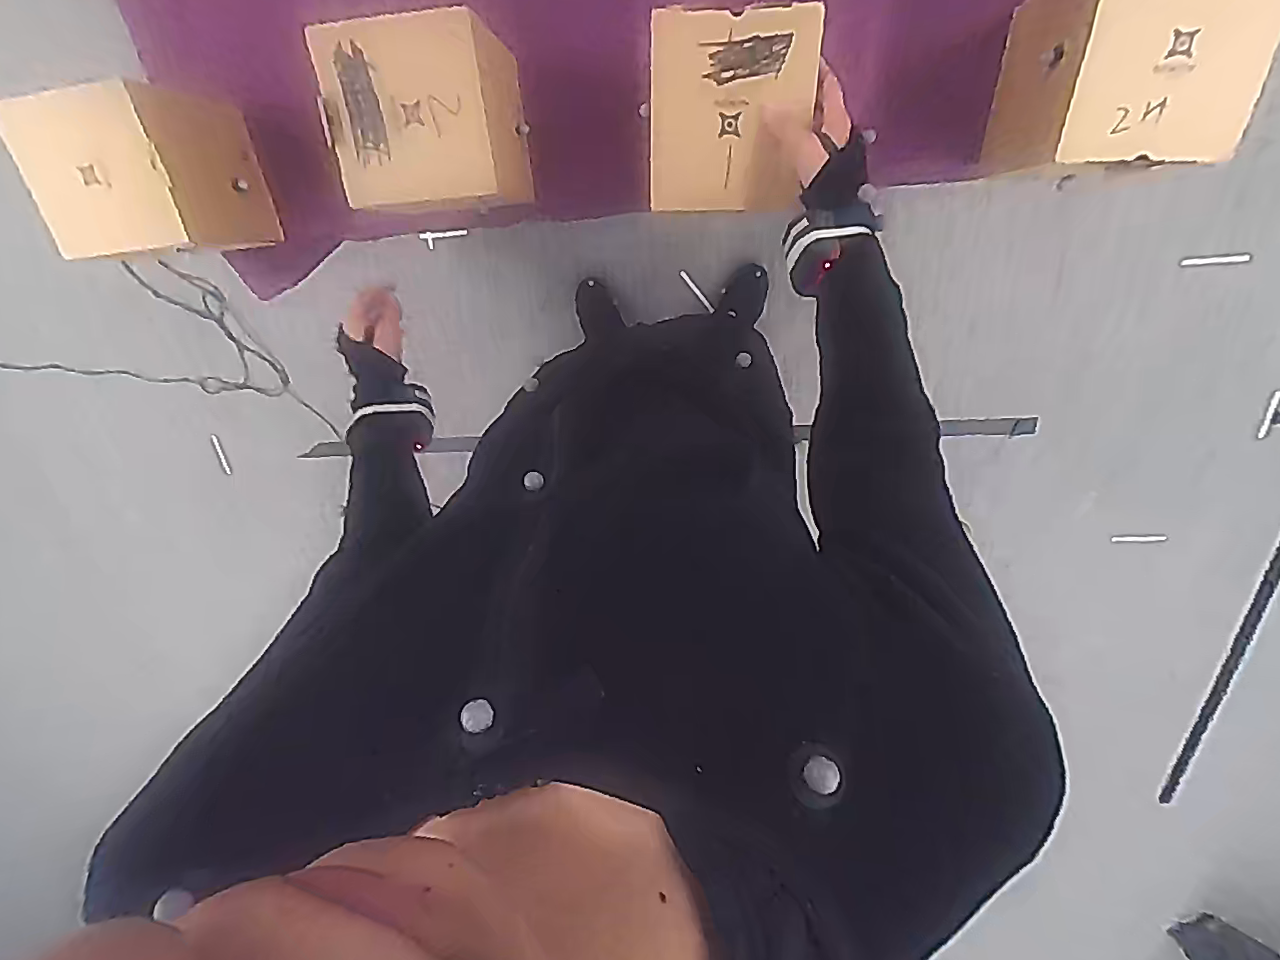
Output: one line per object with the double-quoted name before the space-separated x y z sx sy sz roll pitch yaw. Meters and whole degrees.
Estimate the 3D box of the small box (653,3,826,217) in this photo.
"small box" 0.101 -0.401 0.617 0.168 0.176 0.179 1 115 5

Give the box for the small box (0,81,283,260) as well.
"small box" -0.613 -0.379 0.692 0.179 0.176 0.168 -5 114 6

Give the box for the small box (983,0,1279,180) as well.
"small box" 0.498 -0.425 0.568 0.168 0.176 0.179 3 114 5
